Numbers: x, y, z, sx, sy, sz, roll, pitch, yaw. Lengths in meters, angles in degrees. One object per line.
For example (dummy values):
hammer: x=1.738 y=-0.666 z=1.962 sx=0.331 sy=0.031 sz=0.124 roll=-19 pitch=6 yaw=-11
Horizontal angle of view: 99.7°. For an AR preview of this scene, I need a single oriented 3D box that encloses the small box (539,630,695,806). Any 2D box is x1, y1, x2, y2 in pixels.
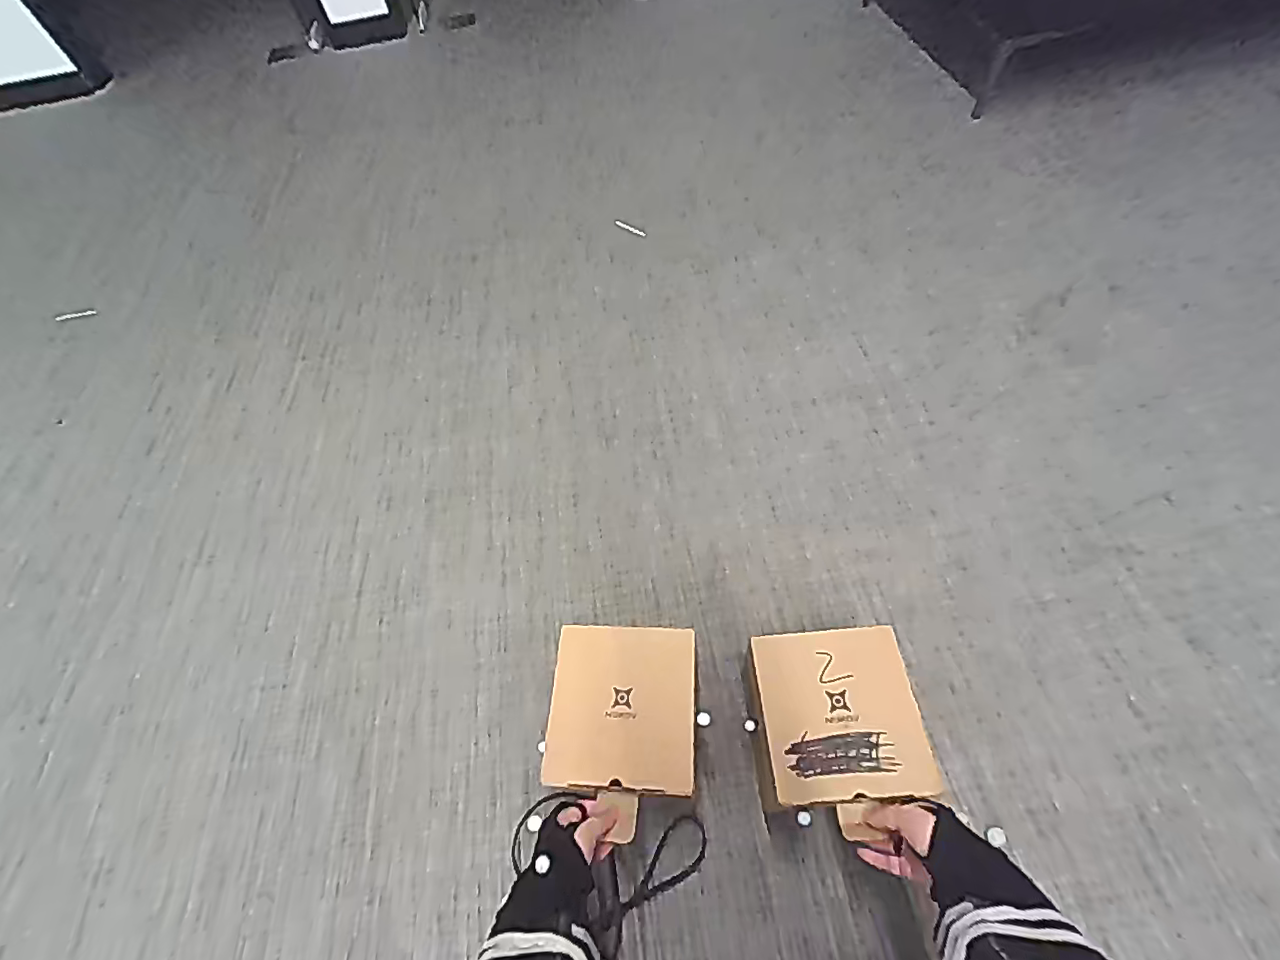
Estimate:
small box: x=-0.016 y=0.303 z=0.682 sx=0.168 sy=0.176 sz=0.179 roll=0 pitch=58 yaw=6
